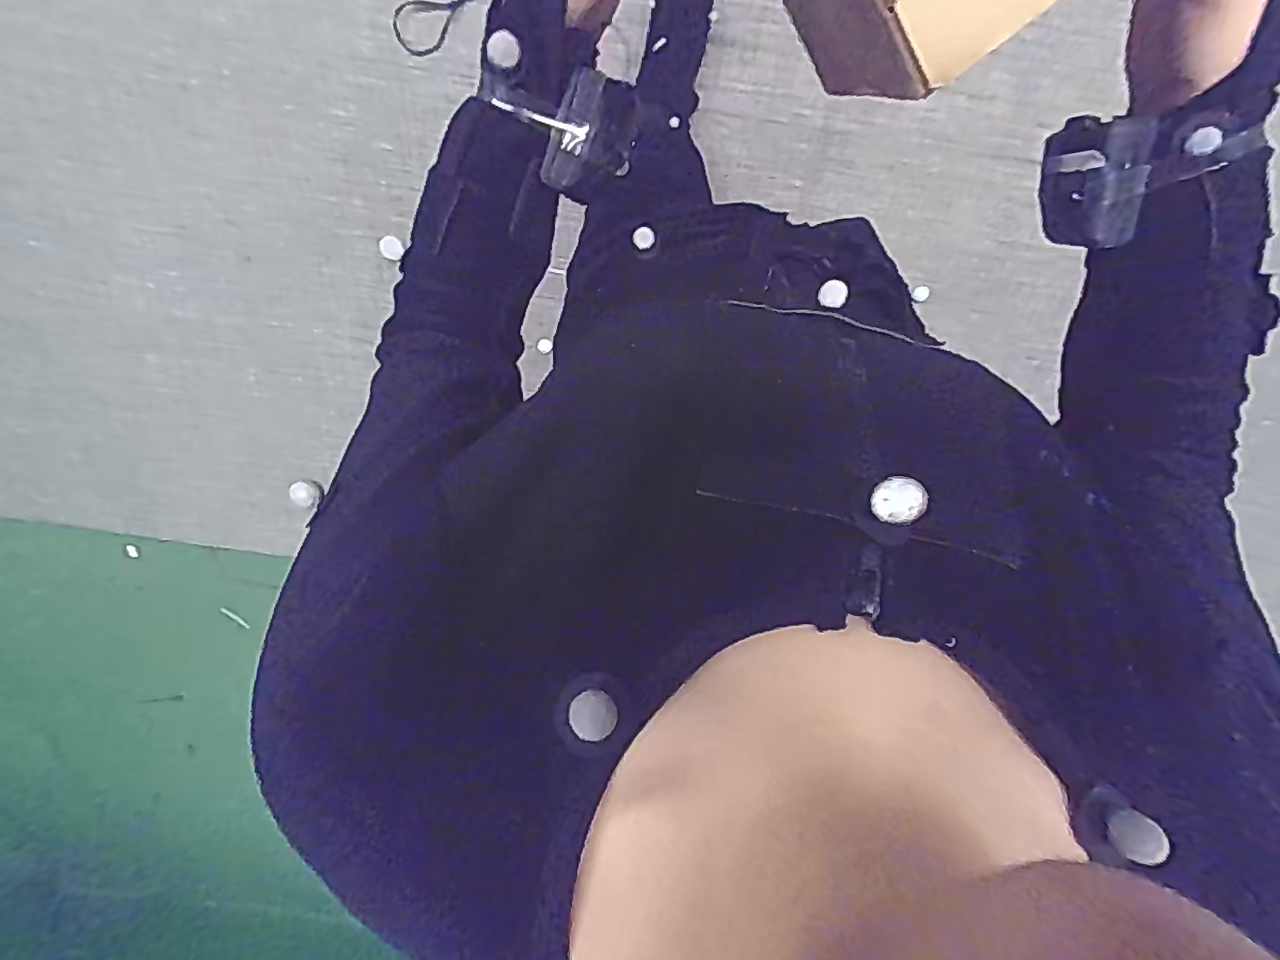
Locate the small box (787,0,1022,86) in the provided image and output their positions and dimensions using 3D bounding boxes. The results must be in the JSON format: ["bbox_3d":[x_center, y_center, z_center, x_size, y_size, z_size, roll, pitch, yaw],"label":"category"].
[{"bbox_3d":[0.123,-0.282,0.196,0.179,0.176,0.168,-30,117,25],"label":"small box"}]
